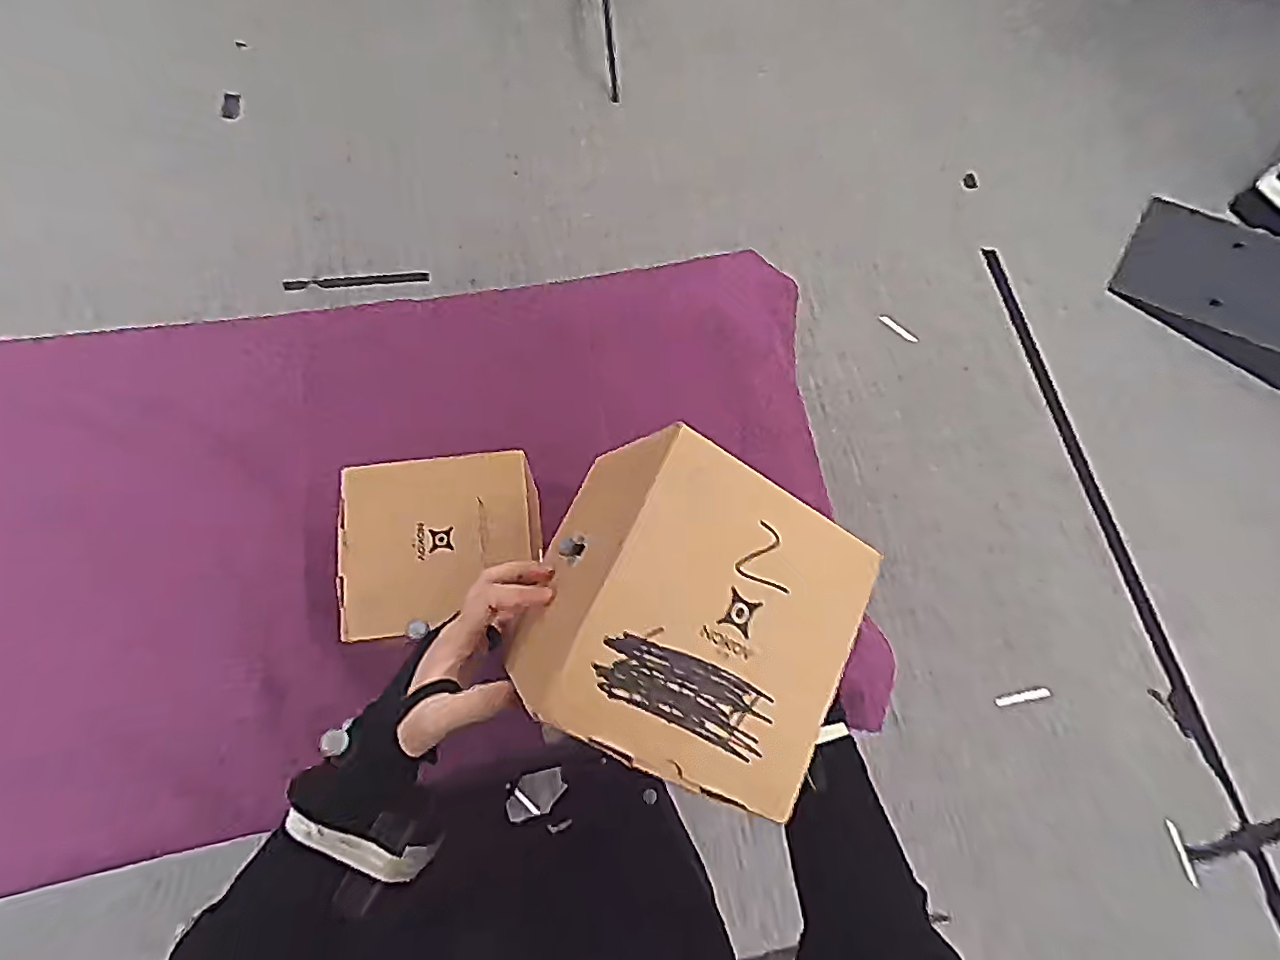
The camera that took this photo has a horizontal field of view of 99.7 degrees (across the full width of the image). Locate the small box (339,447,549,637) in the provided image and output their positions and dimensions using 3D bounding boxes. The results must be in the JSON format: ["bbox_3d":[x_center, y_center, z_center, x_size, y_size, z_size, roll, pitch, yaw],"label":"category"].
[{"bbox_3d":[-0.200,0.076,0.588,0.179,0.176,0.168,-7,75,-8],"label":"small box"}]
